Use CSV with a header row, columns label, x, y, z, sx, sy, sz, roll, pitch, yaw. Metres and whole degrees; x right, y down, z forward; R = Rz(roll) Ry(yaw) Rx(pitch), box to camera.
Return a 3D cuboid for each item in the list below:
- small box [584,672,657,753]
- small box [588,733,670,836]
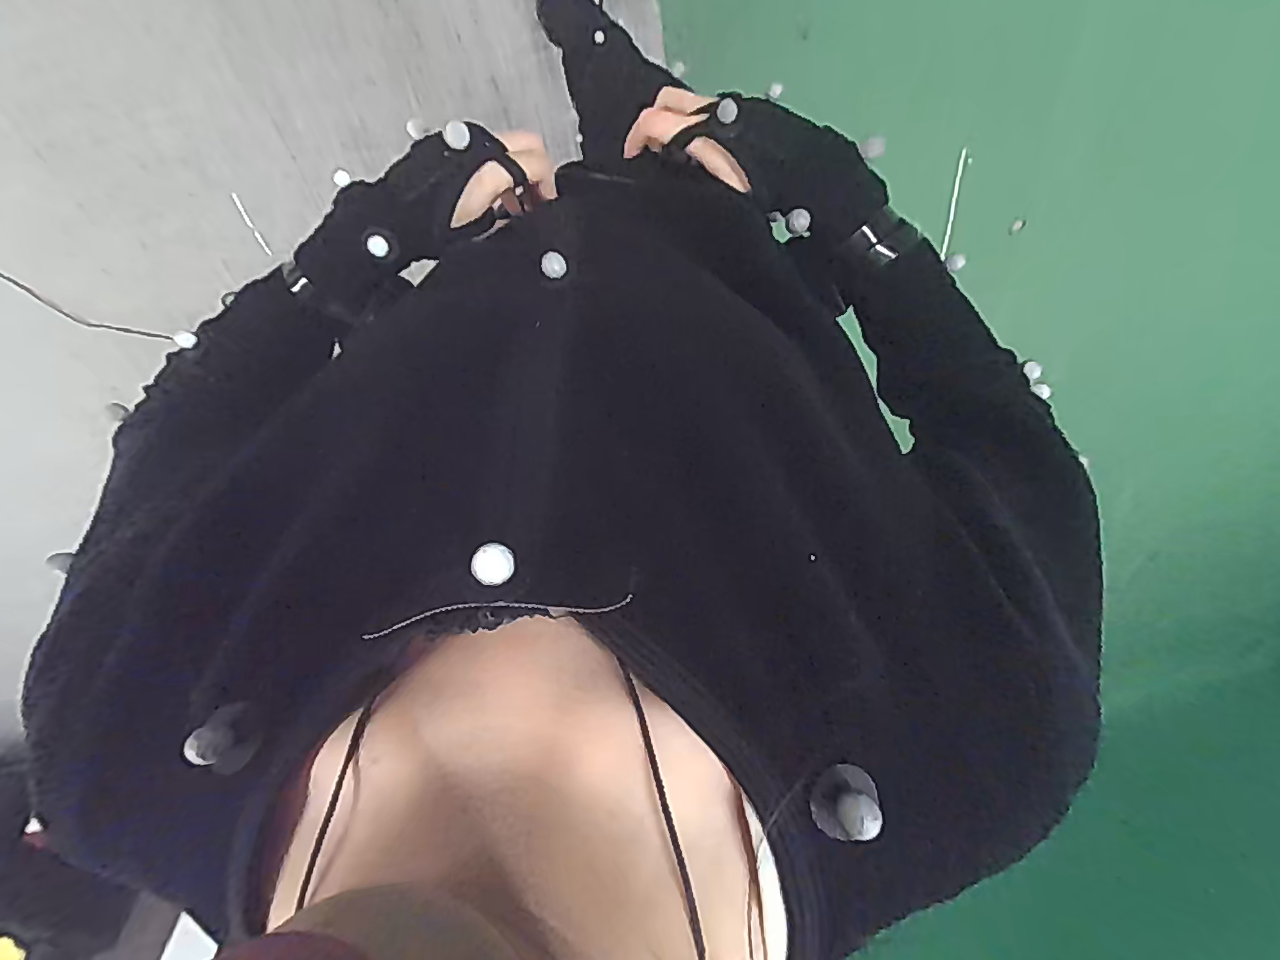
label,x,y,z,sx,sy,sz,roll,pitch,yaw
small box,-0.050,0.642,1.455,0.179,0.176,0.168,-9,131,2
small box,-0.028,0.746,1.329,0.179,0.176,0.168,-9,131,2
